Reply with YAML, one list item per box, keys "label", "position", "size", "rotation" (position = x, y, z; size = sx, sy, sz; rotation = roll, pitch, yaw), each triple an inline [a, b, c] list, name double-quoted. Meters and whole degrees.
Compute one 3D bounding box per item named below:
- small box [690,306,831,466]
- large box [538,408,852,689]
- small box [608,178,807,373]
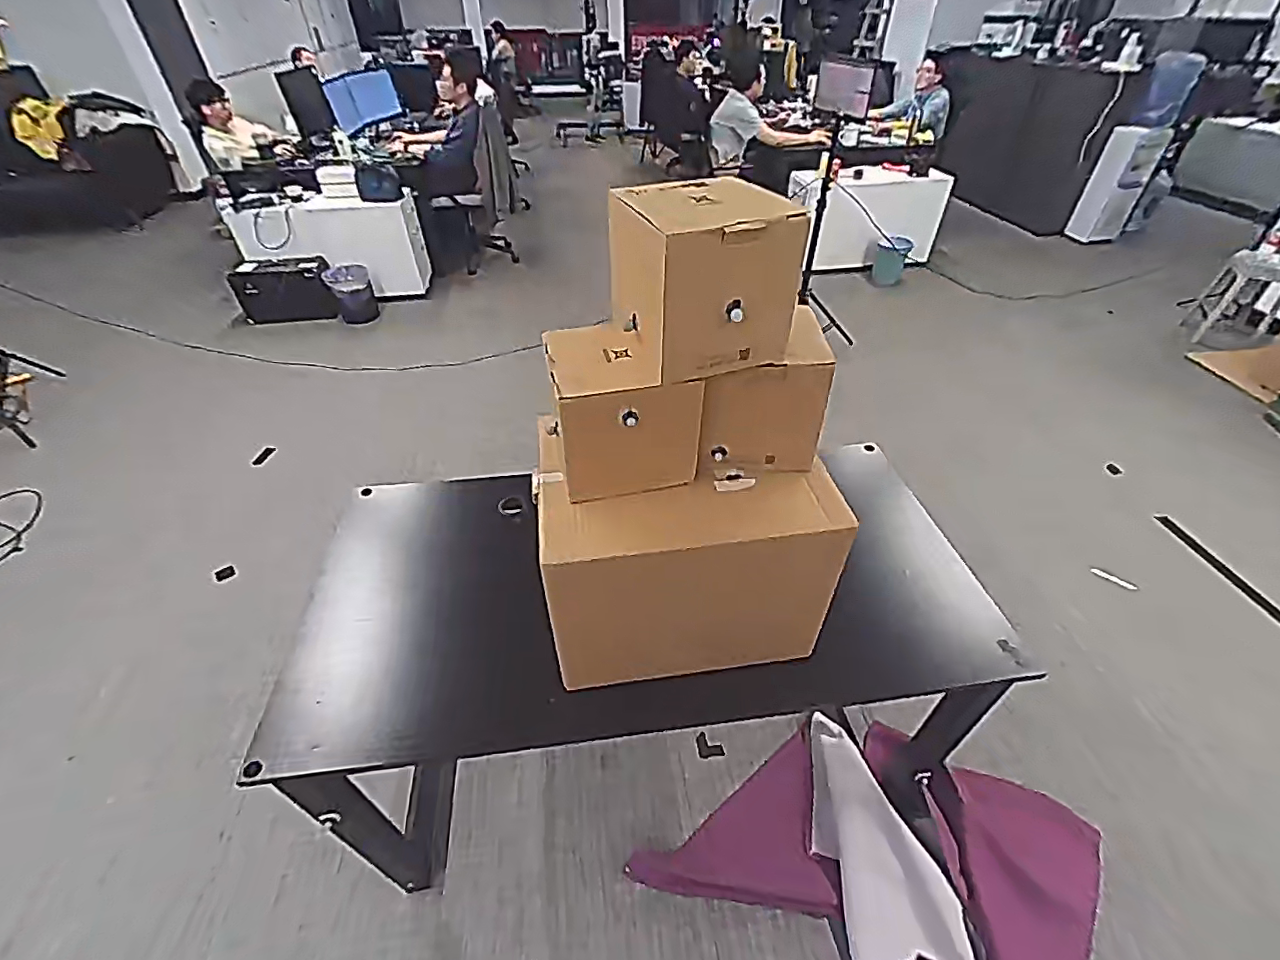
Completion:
- label: "small box"
  position: [0.158, -0.133, 0.769]
  size: [0.168, 0.176, 0.179]
  rotation: [1, 40, 2]
- label: "large box"
  position: [0.055, 0.096, 0.878]
  size: [0.408, 0.320, 0.320]
  rotation: [-6, 42, -8]
- label: "small box"
  position: [0.069, -0.241, 0.646]
  size: [0.168, 0.176, 0.179]
  rotation: [-15, 44, -16]
